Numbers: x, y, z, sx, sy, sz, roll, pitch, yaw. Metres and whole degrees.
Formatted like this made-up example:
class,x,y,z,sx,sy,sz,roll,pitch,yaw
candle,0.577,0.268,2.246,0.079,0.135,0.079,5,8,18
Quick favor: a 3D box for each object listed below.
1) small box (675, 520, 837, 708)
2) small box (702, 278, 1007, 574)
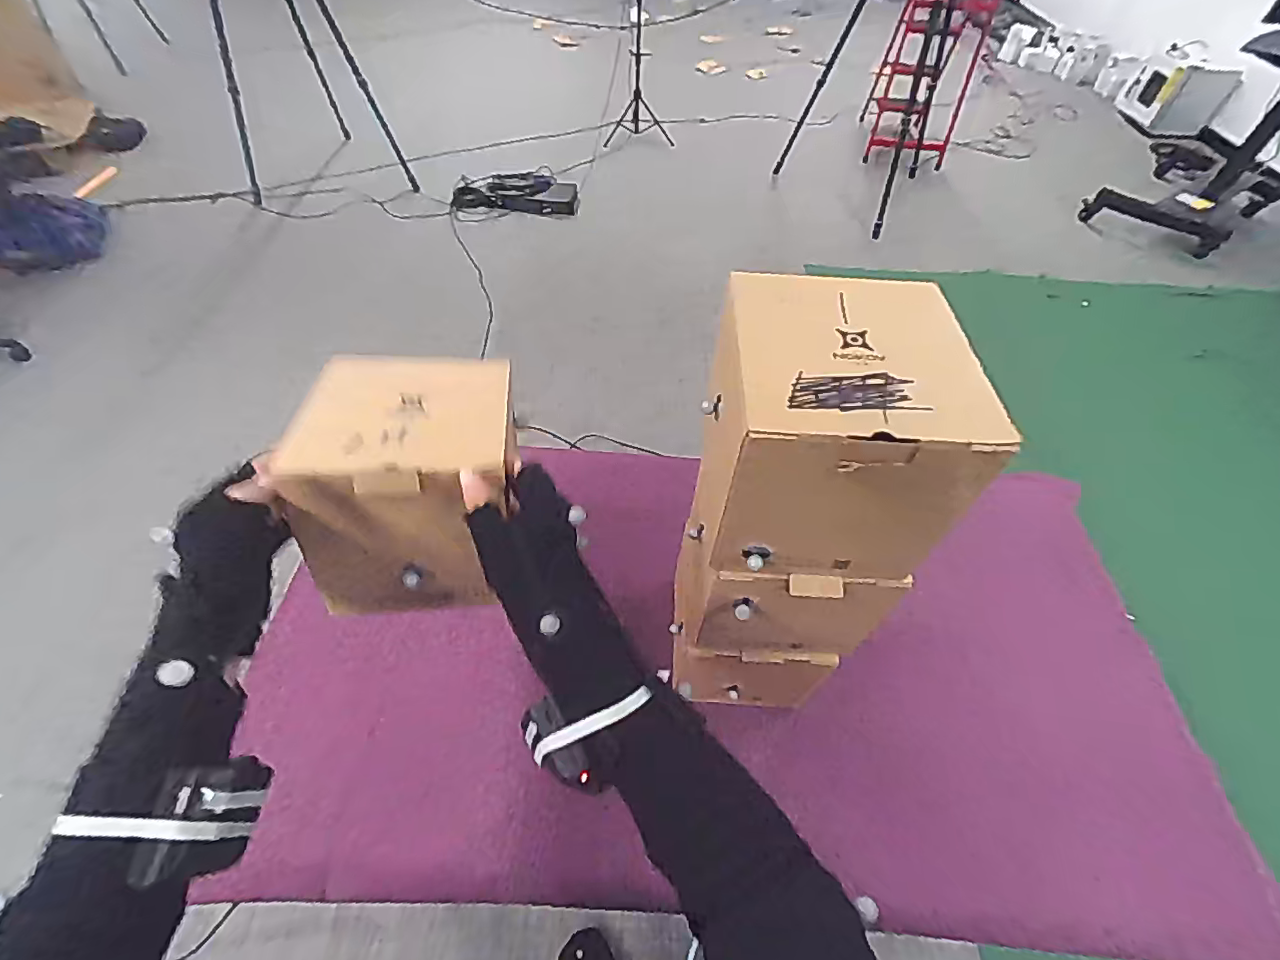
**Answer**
class,x,y,z,sx,sy,sz,roll,pitch,yaw
small box,0.133,0.173,0.691,0.168,0.176,0.179,3,53,1
small box,0.143,-0.039,0.439,0.168,0.176,0.179,3,51,0
